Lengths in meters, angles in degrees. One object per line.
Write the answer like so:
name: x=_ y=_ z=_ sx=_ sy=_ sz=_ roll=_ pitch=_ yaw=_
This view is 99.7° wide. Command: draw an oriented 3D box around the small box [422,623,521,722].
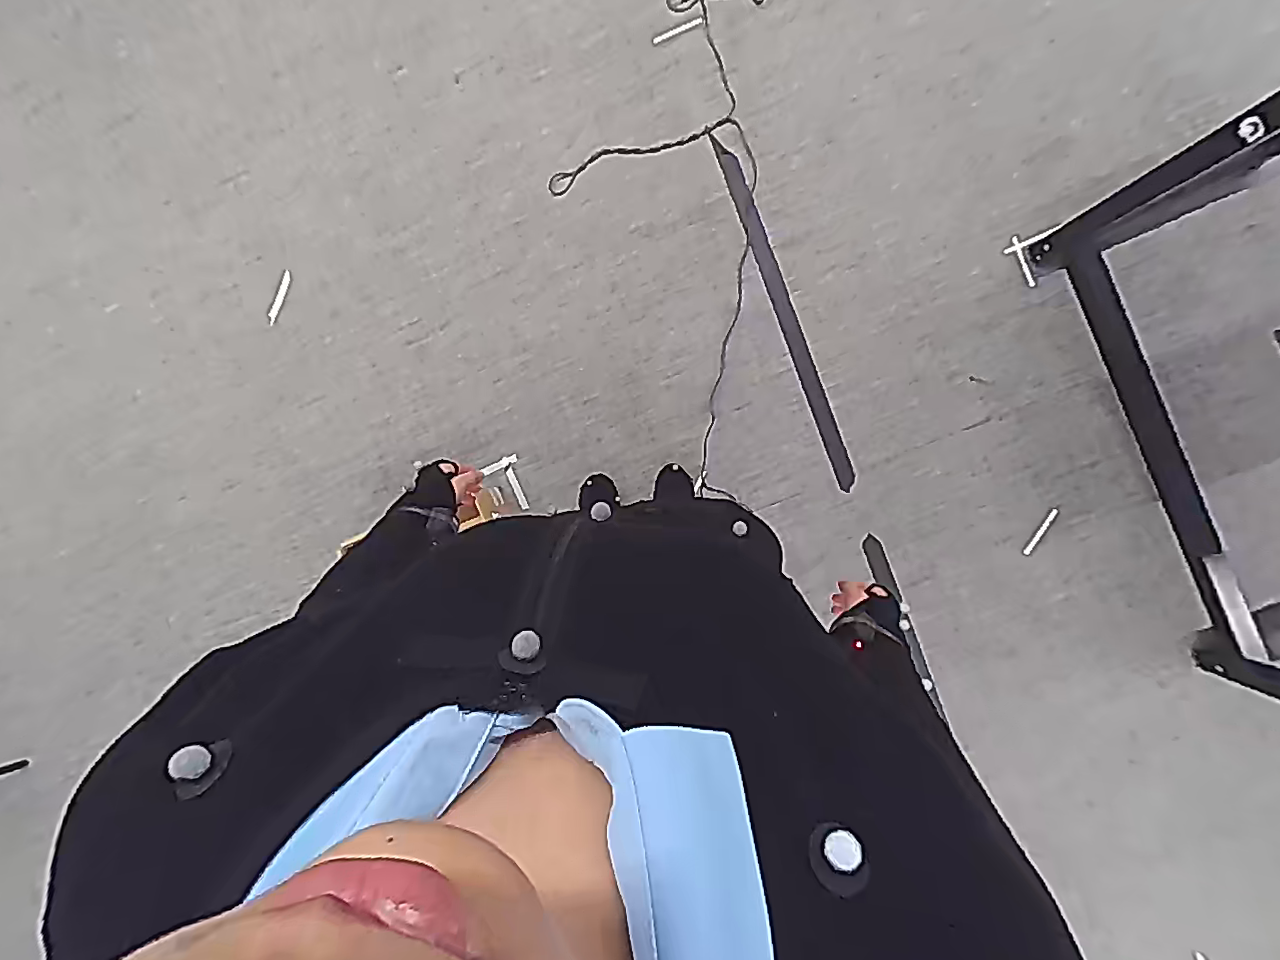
small box: x=-0.429 y=0.495 z=1.420 sx=0.179 sy=0.176 sz=0.168 roll=-25 pitch=87 yaw=5
